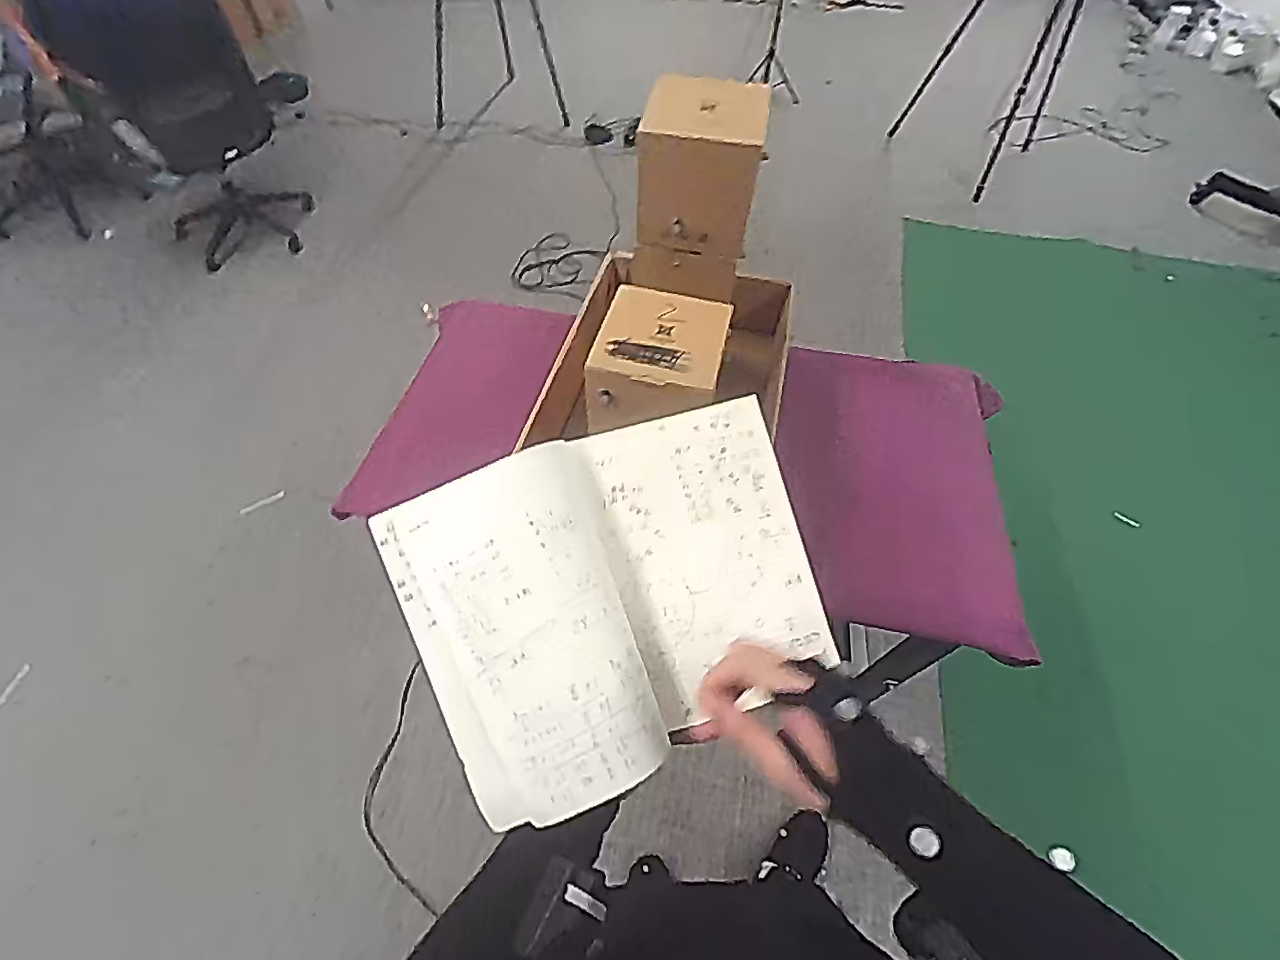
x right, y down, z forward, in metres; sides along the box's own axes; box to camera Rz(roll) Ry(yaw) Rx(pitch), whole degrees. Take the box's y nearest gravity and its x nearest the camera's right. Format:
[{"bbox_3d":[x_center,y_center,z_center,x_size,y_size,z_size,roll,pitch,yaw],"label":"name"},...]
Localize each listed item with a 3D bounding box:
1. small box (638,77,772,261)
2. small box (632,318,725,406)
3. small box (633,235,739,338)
[{"bbox_3d":[0.092,-0.461,0.809,0.168,0.176,0.179,10,58,5],"label":"small box"},{"bbox_3d":[0.080,-0.277,1.079,0.168,0.176,0.179,11,58,5],"label":"small box"},{"bbox_3d":[0.085,-0.373,0.946,0.168,0.176,0.179,10,57,4],"label":"small box"}]
